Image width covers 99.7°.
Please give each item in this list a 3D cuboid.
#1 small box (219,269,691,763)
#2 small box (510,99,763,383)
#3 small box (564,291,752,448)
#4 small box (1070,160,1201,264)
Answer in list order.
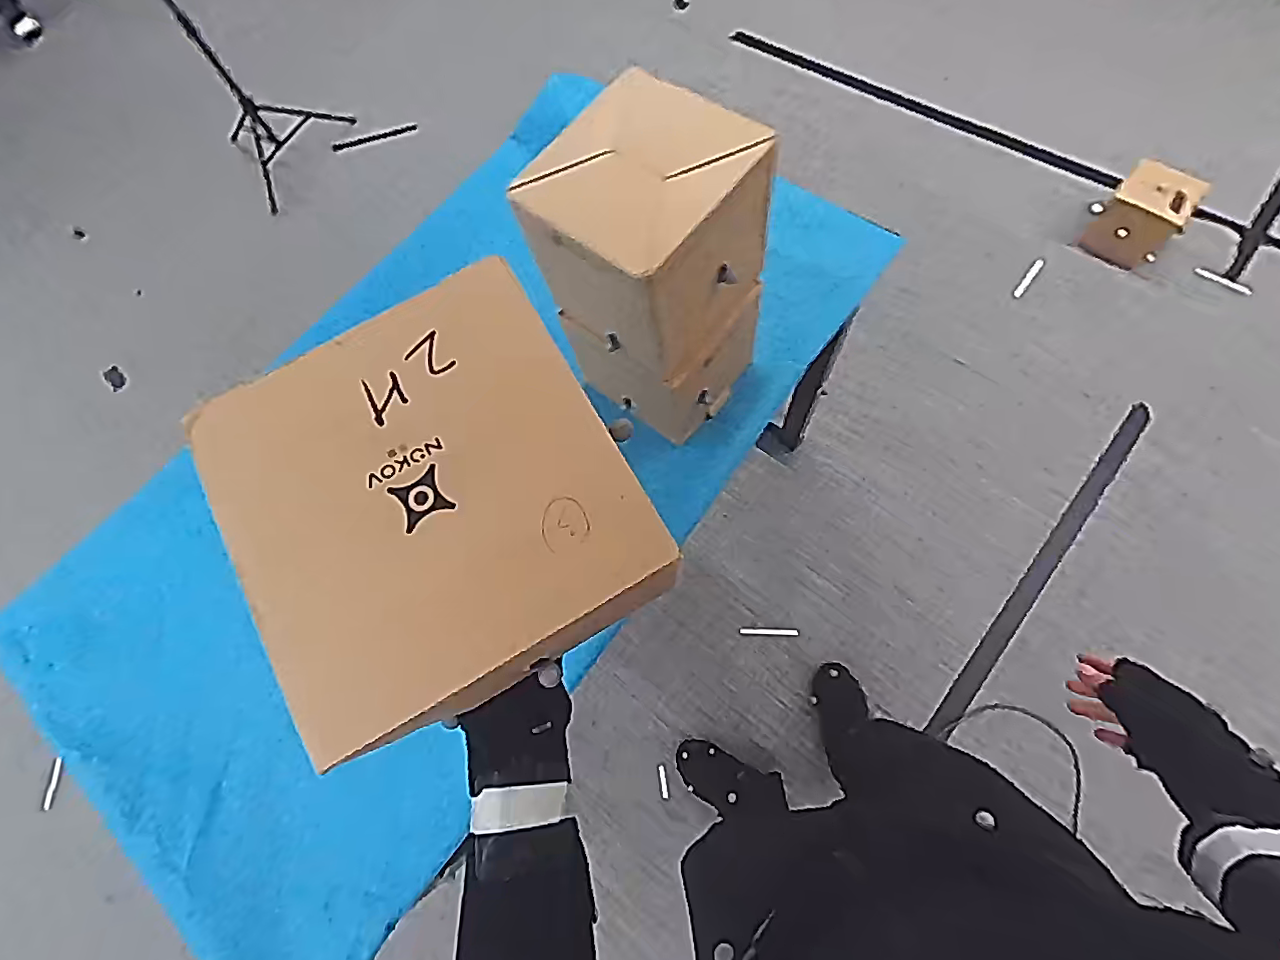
[{"bbox_3d":[-0.084,0.024,0.319,0.168,0.176,0.179,-29,76,-6],"label":"small box"},{"bbox_3d":[0.007,-0.237,0.537,0.168,0.176,0.179,37,81,19],"label":"small box"},{"bbox_3d":[0.028,-0.175,0.688,0.179,0.176,0.168,35,78,17],"label":"small box"},{"bbox_3d":[1.365,-0.734,1.502,0.179,0.176,0.168,38,79,18],"label":"small box"}]
